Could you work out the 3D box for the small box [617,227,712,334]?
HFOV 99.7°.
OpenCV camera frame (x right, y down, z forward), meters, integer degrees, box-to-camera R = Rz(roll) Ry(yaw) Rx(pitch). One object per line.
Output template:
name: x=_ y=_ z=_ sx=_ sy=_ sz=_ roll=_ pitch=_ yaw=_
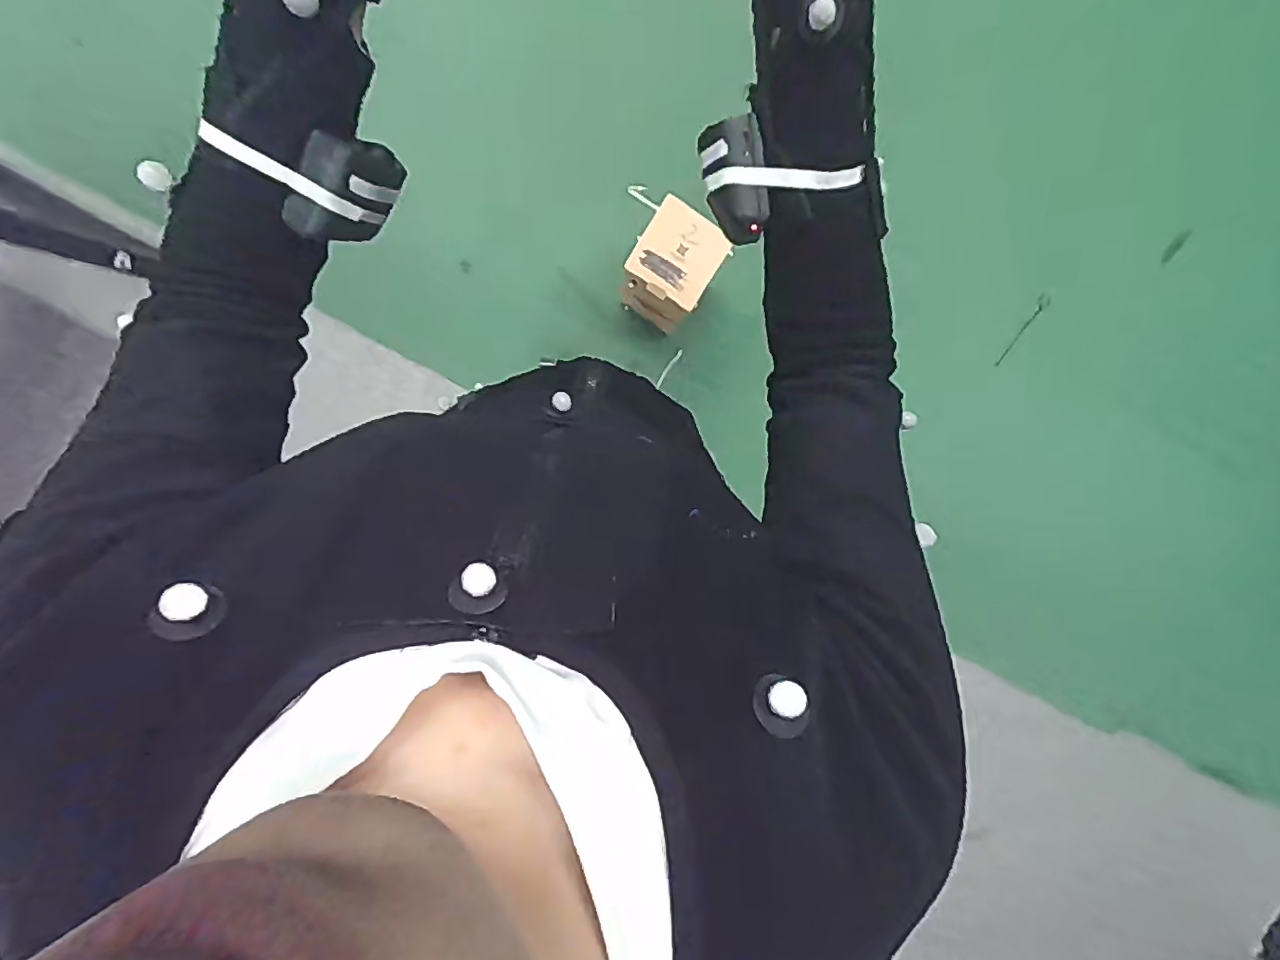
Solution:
small box: x=0.055 y=-0.481 z=1.337 sx=0.168 sy=0.176 sz=0.179 roll=30 pitch=96 yaw=-8
